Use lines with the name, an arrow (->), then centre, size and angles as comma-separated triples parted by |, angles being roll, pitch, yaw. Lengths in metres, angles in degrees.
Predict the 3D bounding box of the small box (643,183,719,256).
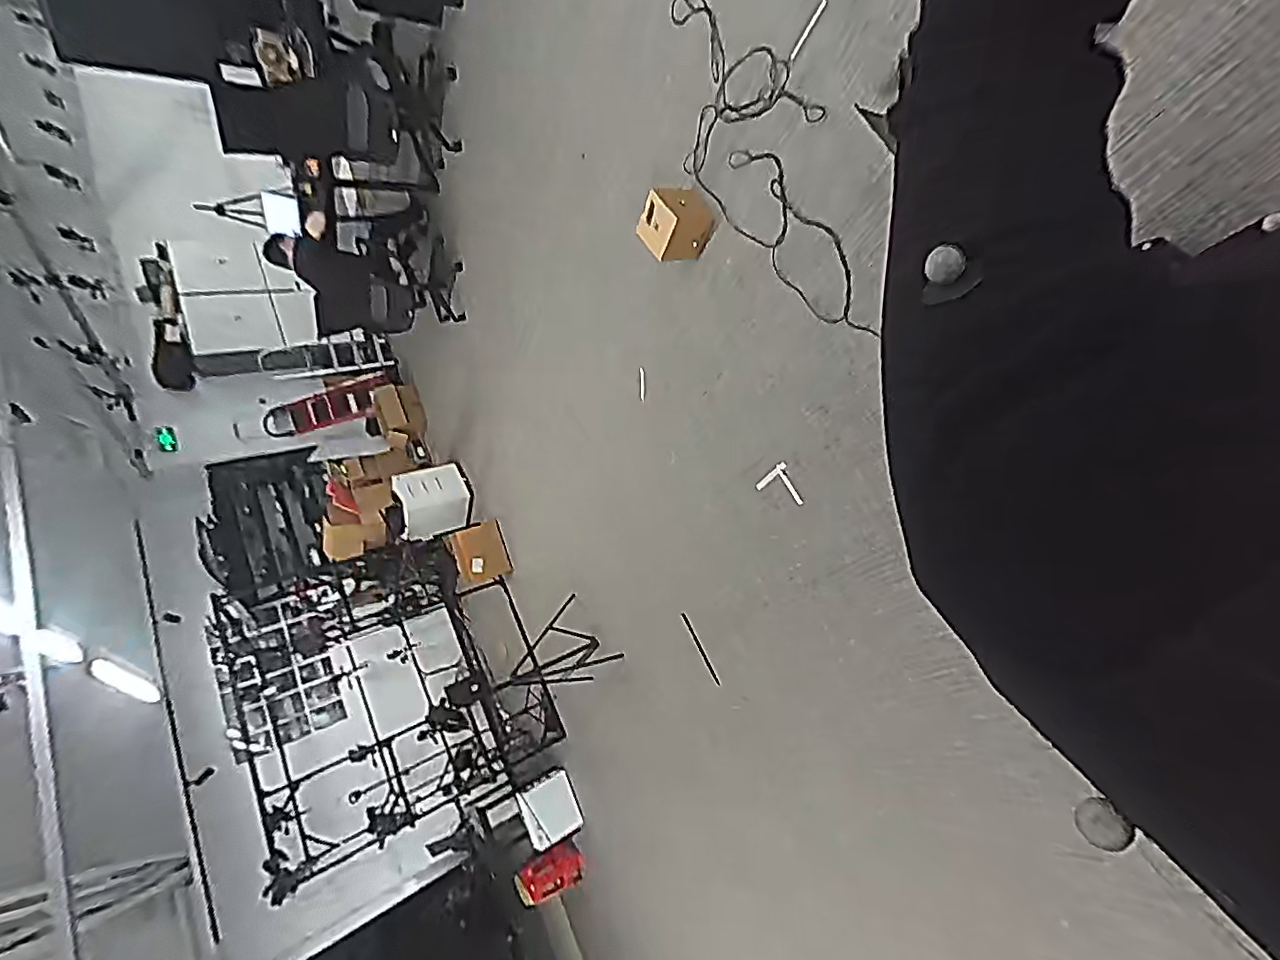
small box -> 0.143, -0.906, 1.891 | 0.179, 0.176, 0.168 | 59, 146, 22
